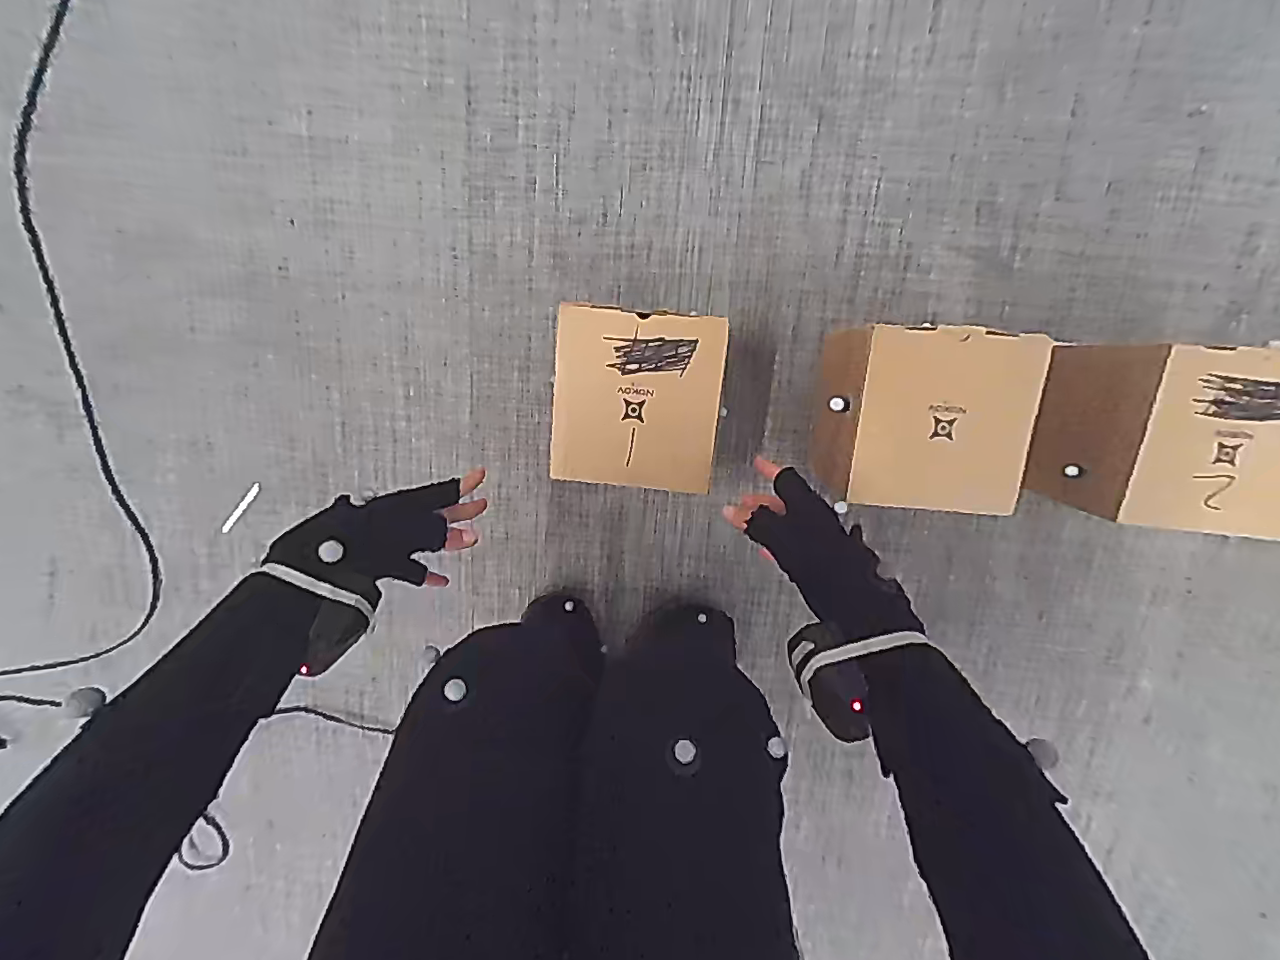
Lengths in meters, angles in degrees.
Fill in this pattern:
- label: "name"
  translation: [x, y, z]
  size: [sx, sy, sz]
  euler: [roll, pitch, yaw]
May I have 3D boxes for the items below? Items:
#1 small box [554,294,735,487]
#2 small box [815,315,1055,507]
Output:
- label: "small box"
  translation: [0.006, -0.103, 0.607]
  size: [0.168, 0.176, 0.179]
  euler: [6, 104, 3]
- label: "small box"
  translation: [0.299, -0.081, 0.594]
  size: [0.168, 0.176, 0.179]
  euler: [4, 103, 4]
